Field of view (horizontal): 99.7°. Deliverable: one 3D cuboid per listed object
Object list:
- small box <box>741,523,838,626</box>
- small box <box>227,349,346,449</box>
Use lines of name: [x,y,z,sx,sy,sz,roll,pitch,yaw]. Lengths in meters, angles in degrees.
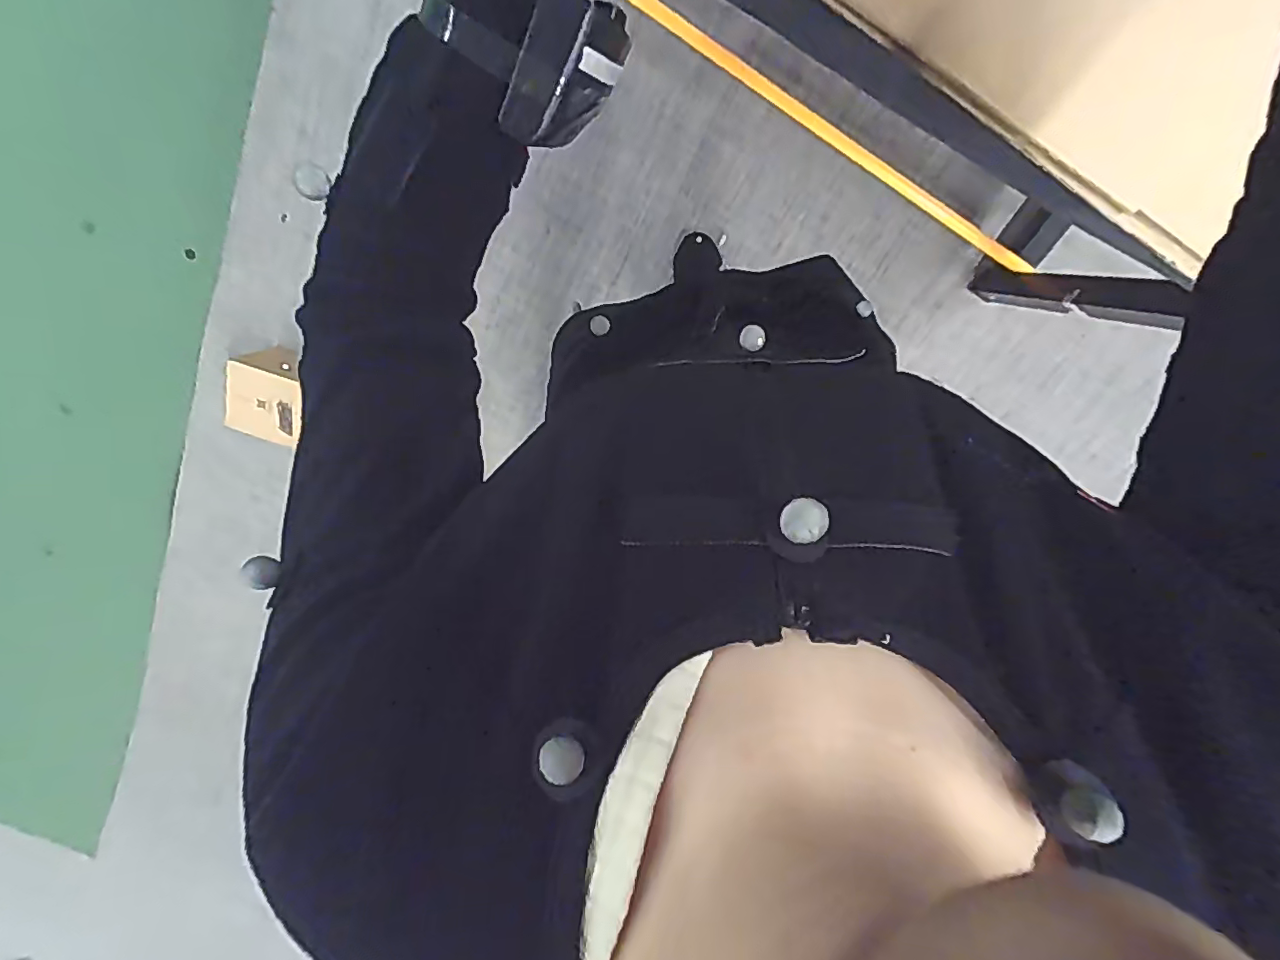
small box: [0.380,0.240,1.413,0.168,0.176,0.179,22,111,-7]
small box: [-0.830,-0.198,1.280,0.179,0.176,0.168,19,112,-4]
